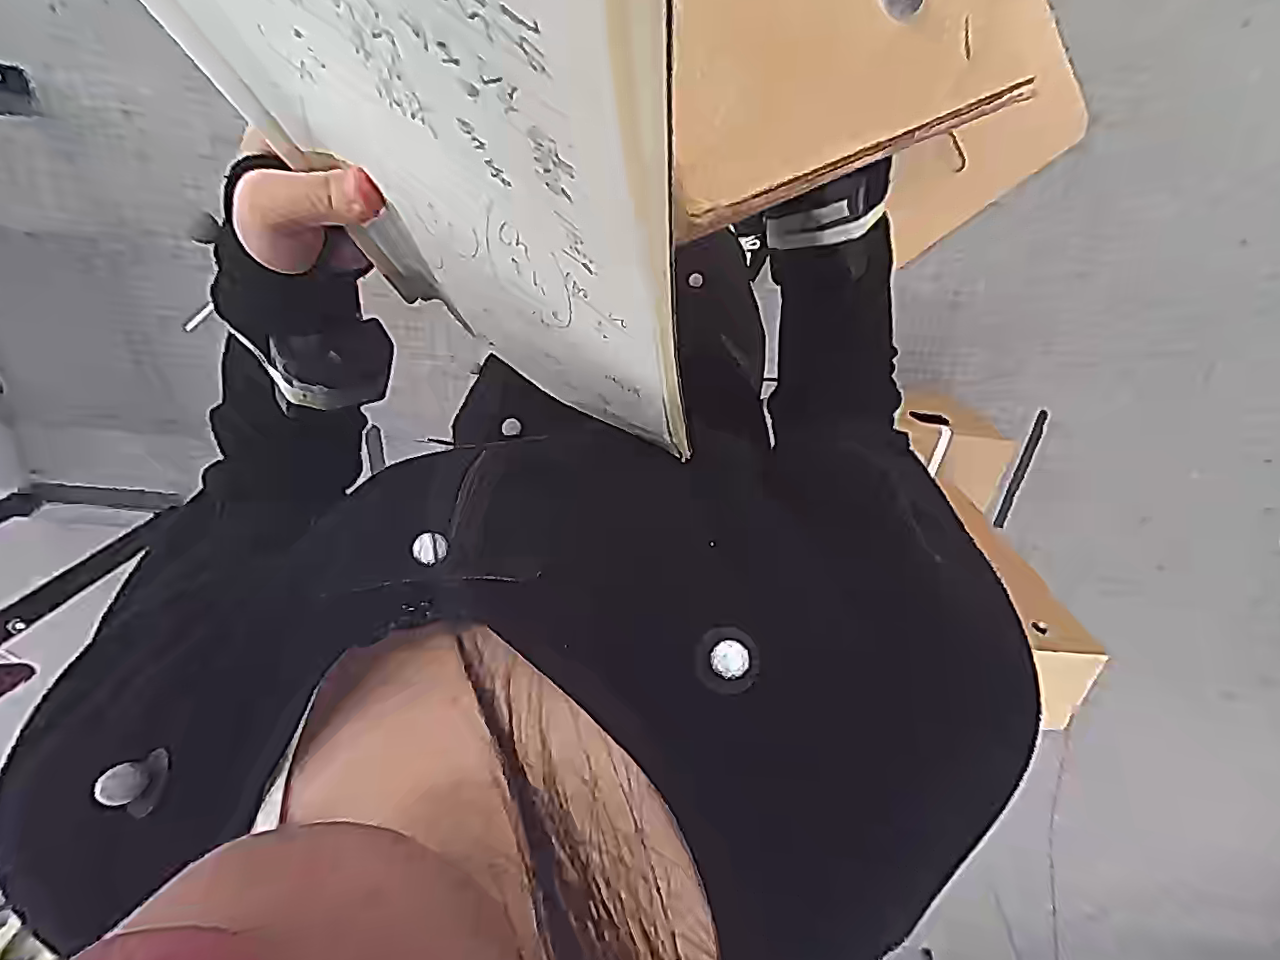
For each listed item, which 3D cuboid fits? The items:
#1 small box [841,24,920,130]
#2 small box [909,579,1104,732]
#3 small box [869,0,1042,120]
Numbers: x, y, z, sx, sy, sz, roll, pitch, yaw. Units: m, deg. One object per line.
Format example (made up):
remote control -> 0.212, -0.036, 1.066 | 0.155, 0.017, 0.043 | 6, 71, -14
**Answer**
small box -> 0.509, -0.800, 1.025 | 0.168, 0.176, 0.179 | -30, 115, 17
small box -> 0.576, 0.278, 0.880 | 0.179, 0.176, 0.168 | 4, 118, 1
small box -> 0.501, -0.725, 0.880 | 0.168, 0.176, 0.179 | -28, 115, 17
